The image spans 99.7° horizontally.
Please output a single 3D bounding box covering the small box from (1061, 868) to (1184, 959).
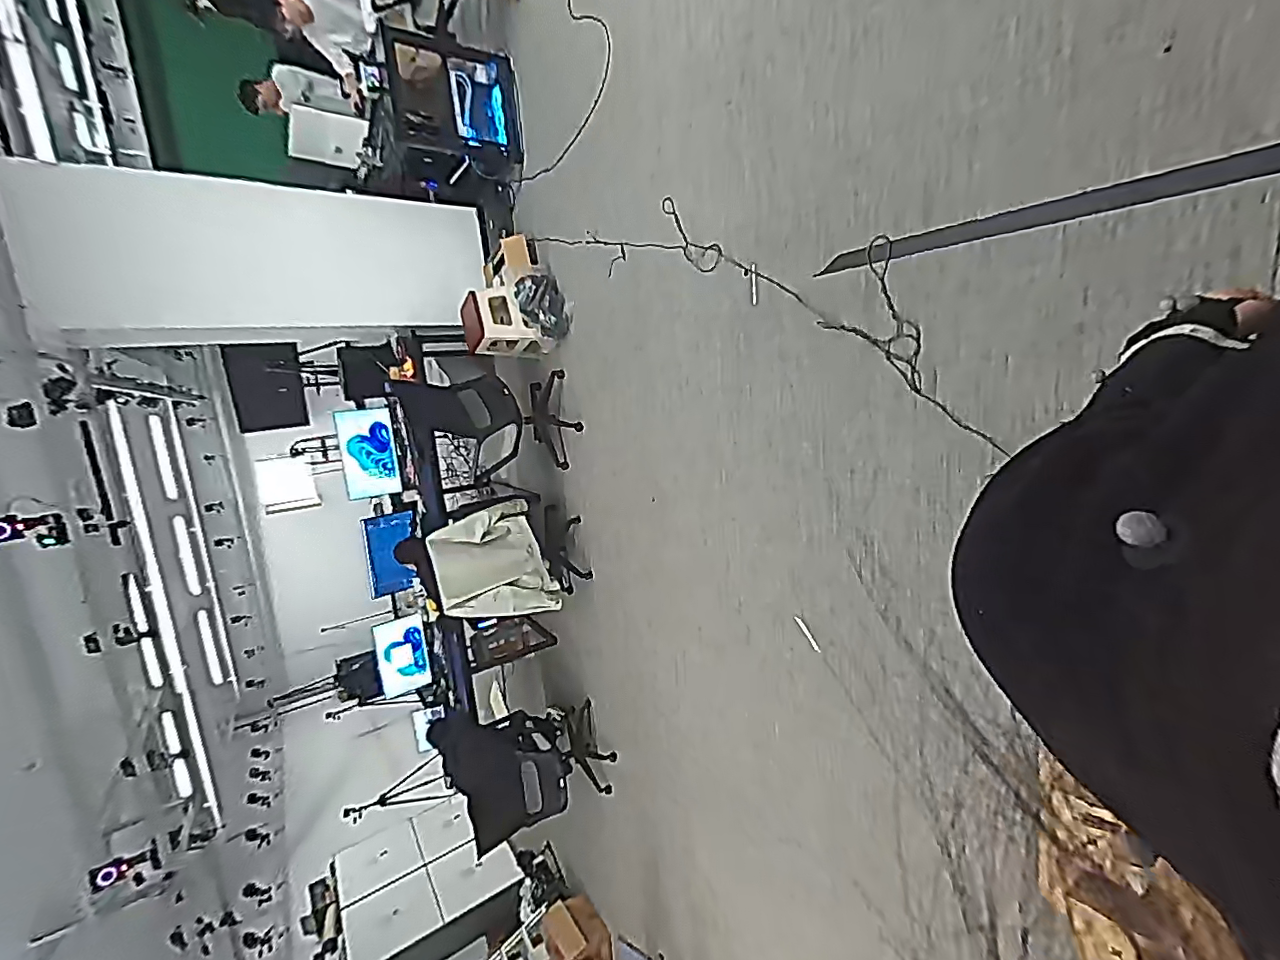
[{"bbox_3d":[1.128,1.045,1.264,0.179,0.176,0.168,-1,100,56],"label":"small box"}]

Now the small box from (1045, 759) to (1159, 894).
[{"bbox_3d":[1.075,0.790,1.258,0.168,0.176,0.179,1,101,56],"label":"small box"}]
